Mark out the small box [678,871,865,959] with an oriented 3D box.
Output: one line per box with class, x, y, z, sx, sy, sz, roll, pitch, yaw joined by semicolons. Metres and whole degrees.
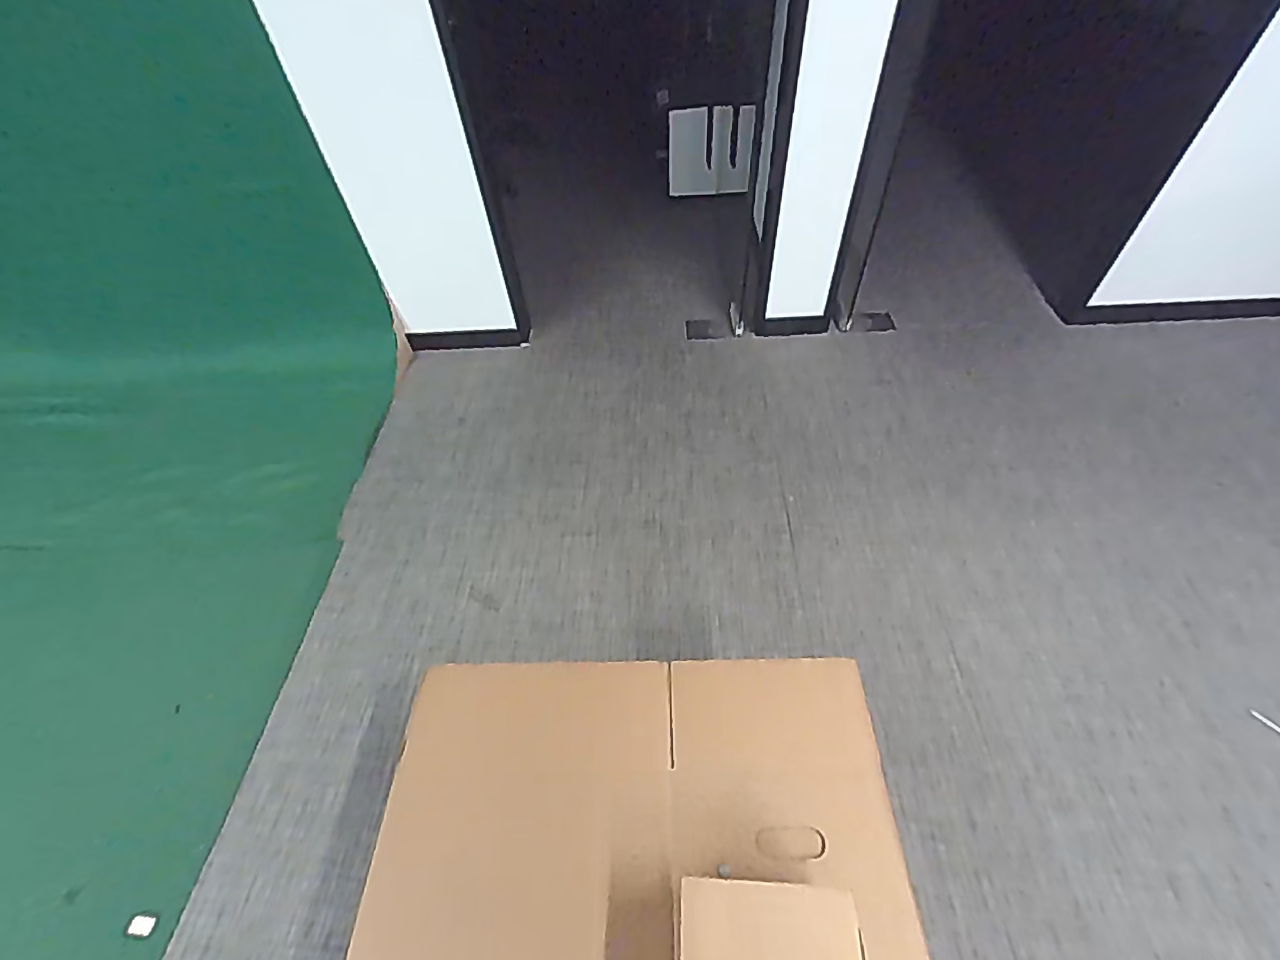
small box;0.131;0.519;0.558;0.179;0.176;0.168;0;51;7
